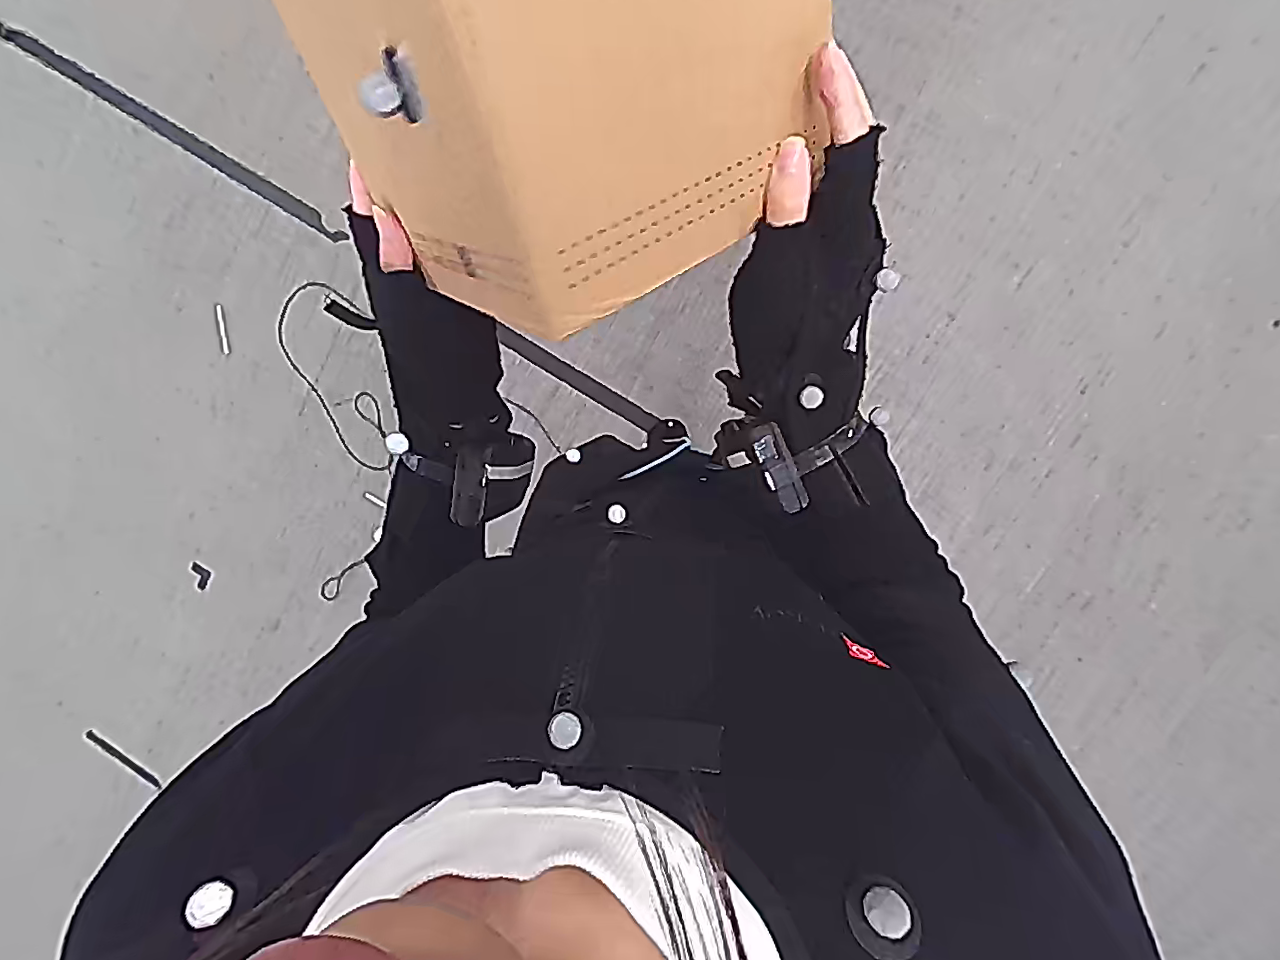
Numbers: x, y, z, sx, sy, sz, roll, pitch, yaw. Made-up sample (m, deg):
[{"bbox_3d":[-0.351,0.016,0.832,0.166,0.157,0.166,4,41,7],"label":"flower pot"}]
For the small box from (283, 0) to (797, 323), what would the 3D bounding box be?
[{"bbox_3d":[-0.037,-0.197,0.264,0.179,0.168,0.176,-38,135,-23],"label":"small box"}]
